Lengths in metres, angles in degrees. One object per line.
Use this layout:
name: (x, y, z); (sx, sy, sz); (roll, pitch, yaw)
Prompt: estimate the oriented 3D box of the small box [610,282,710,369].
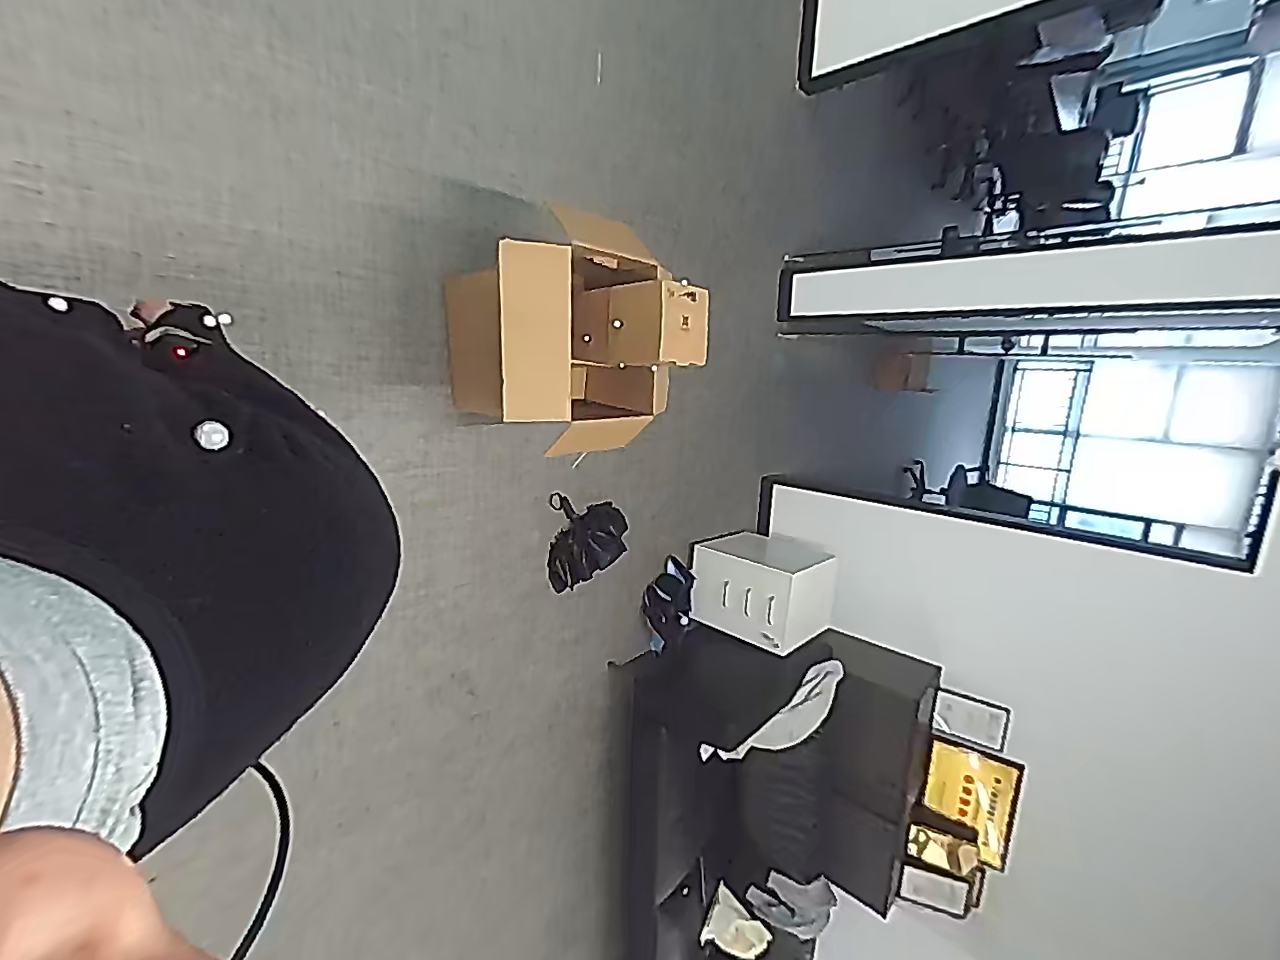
small box: (0.043, -0.356, 1.272); (0.168, 0.176, 0.179); (-8, 104, -46)
